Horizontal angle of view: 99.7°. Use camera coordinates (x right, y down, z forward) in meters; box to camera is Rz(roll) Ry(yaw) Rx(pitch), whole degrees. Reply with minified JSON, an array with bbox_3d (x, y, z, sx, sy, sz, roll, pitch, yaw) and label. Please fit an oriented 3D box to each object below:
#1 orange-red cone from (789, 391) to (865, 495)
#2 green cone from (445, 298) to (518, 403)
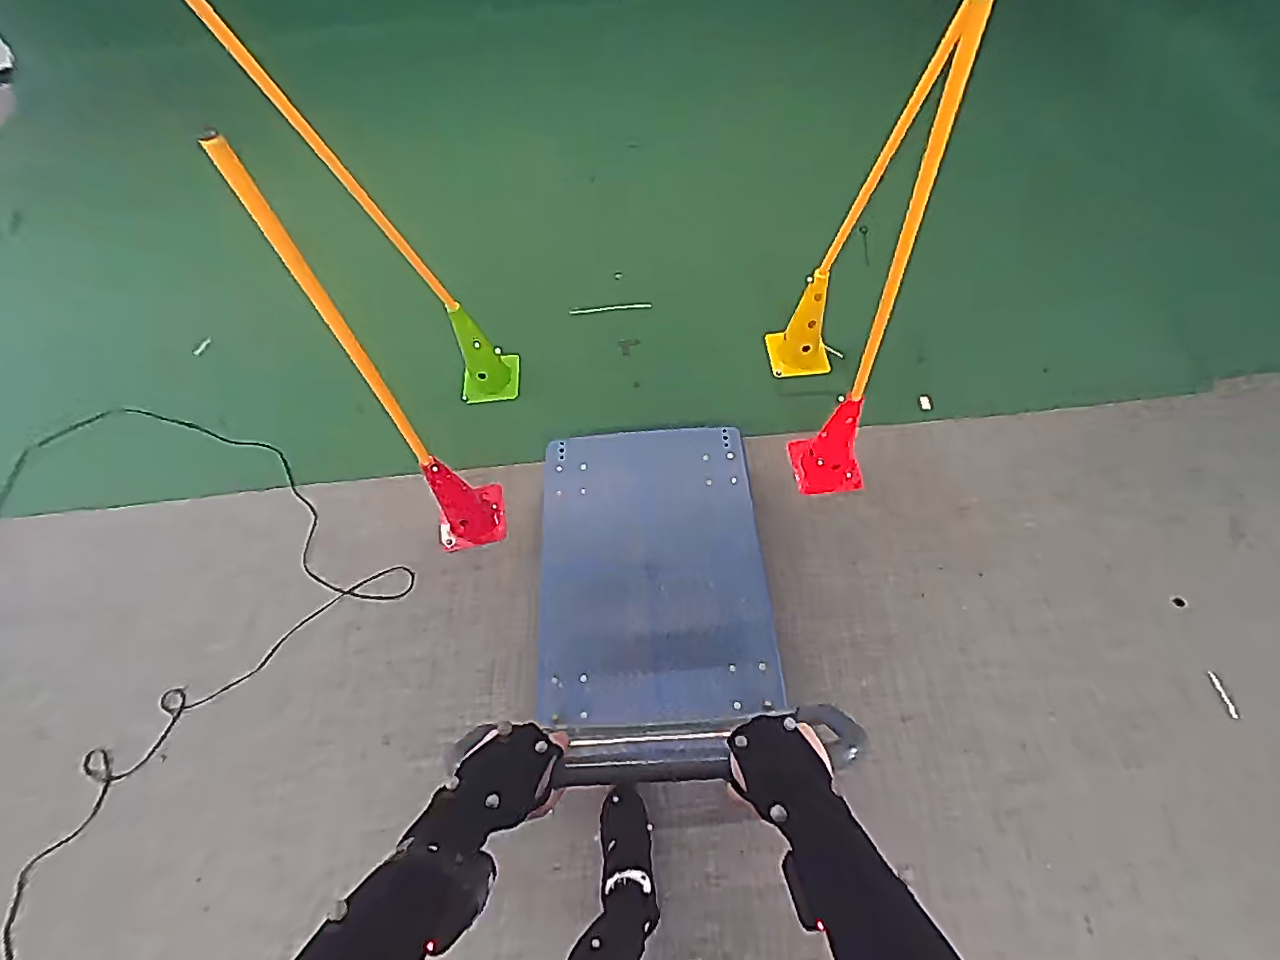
[{"bbox_3d":[0.567,-0.128,1.537,0.198,0.360,0.199,-5,59,0],"label":"orange-red cone"},{"bbox_3d":[-0.552,-0.446,1.786,0.200,0.368,0.202,-6,60,2],"label":"green cone"}]
